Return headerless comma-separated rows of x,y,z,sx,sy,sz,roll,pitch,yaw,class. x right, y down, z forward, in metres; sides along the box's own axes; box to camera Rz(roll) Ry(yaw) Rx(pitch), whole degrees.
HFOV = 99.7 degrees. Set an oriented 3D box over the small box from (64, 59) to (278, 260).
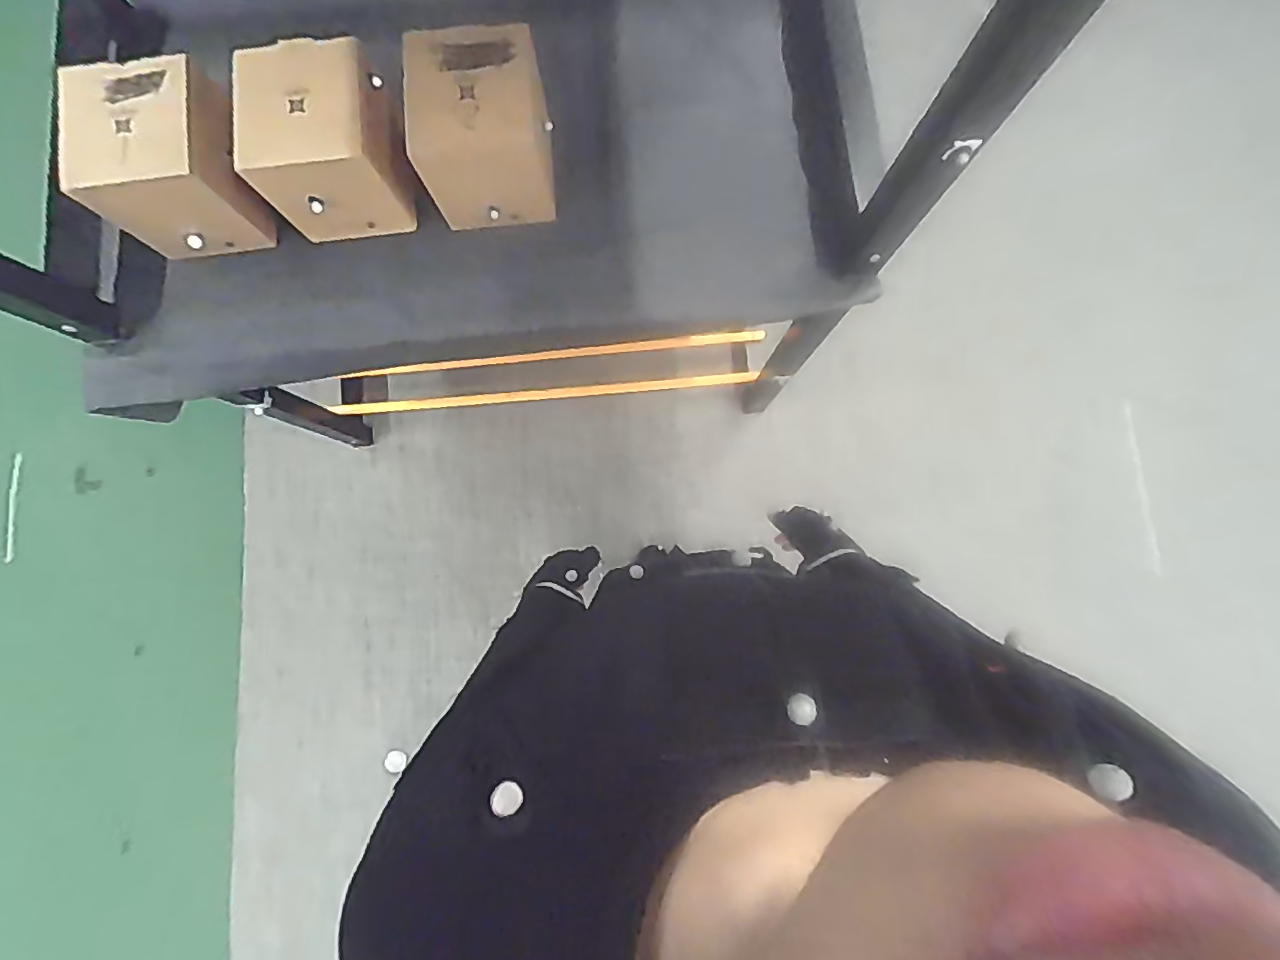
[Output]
-0.652,-0.445,0.772,0.168,0.176,0.179,-7,82,0,small box
